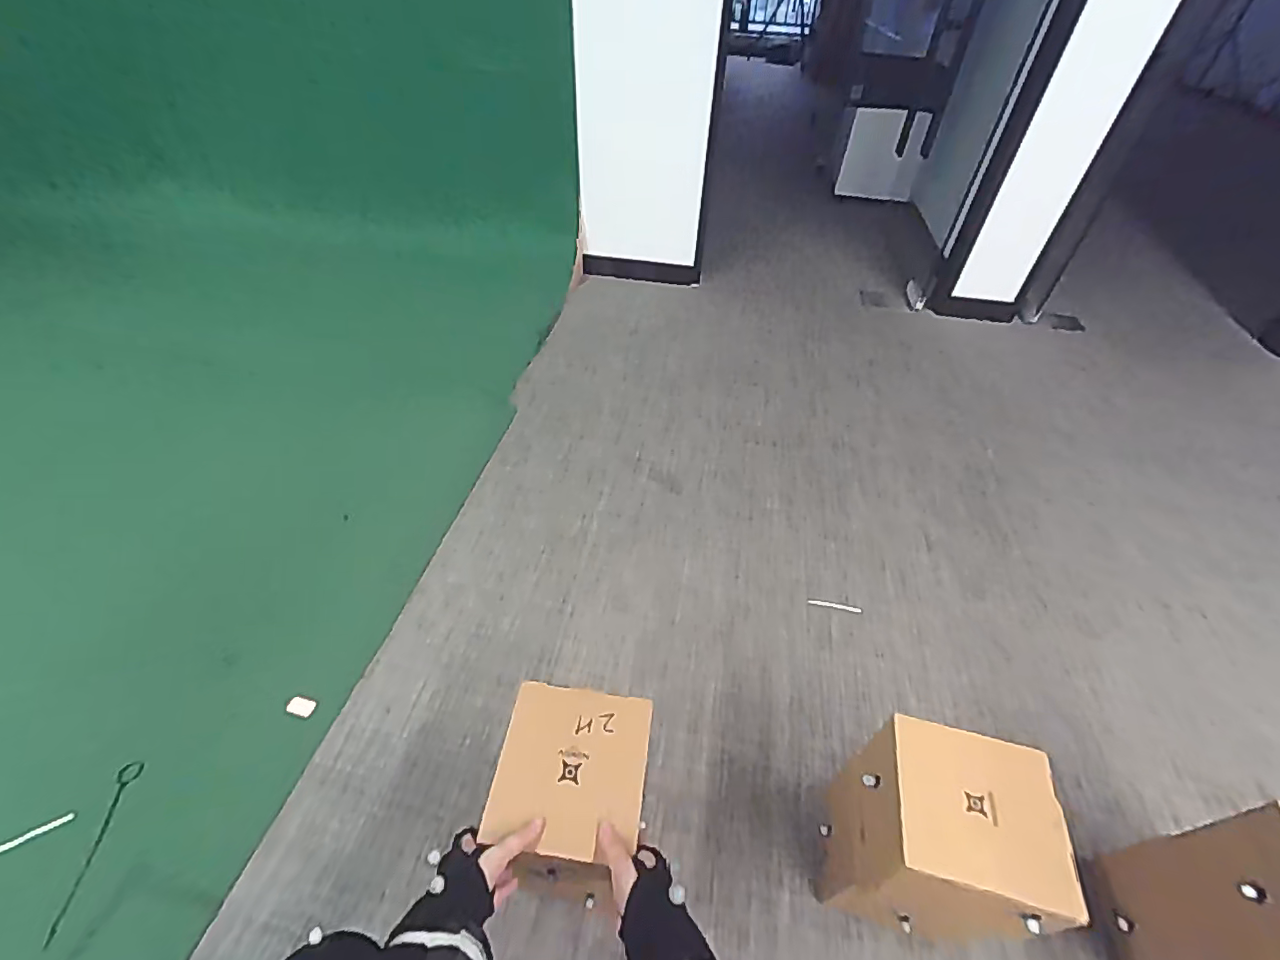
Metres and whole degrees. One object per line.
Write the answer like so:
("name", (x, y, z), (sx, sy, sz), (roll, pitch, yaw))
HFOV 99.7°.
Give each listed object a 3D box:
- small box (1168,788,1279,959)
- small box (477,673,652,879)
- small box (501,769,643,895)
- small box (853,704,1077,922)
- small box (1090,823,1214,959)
("small box", (0.761, 0.481, 0.598), (0.168, 0.176, 0.179), (12, 45, 9))
("small box", (-0.082, 0.369, 0.669), (0.168, 0.176, 0.179), (9, 46, 2))
("small box", (-0.087, 0.480, 0.791), (0.168, 0.176, 0.179), (8, 45, 4))
("small box", (0.367, 0.406, 0.657), (0.179, 0.176, 0.168), (12, 45, 9))
("small box", (0.758, 0.594, 0.718), (0.168, 0.176, 0.179), (11, 46, 8))
